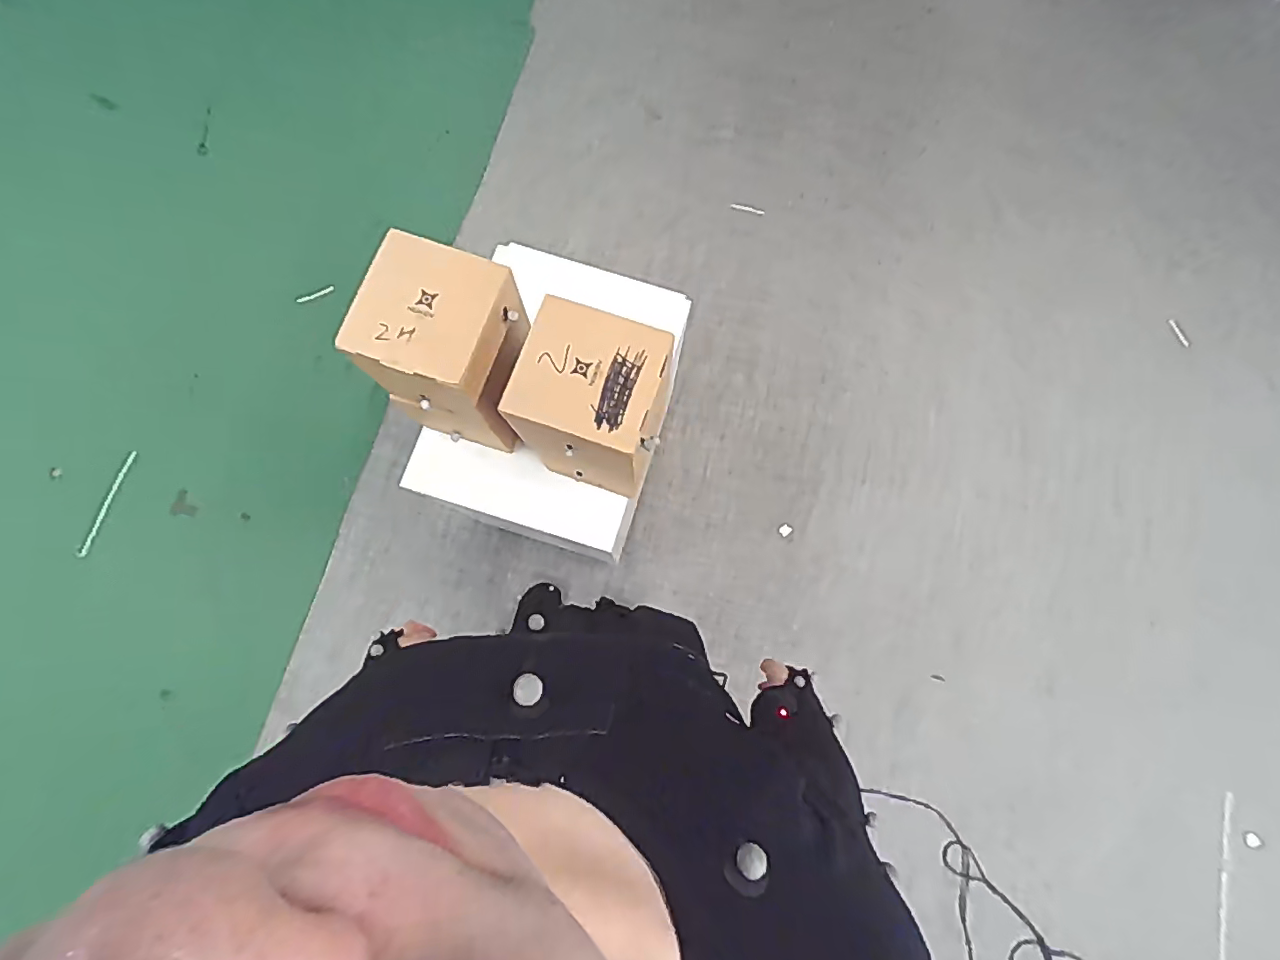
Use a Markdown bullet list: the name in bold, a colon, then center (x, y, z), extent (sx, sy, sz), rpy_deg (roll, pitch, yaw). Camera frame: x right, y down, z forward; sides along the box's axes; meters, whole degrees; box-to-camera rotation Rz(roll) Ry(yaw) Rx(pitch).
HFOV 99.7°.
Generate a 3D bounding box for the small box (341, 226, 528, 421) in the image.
- **small box**: center (-0.267, -0.205, 0.753), extent (0.168, 0.176, 0.179), rpy_deg (19, 79, 2)

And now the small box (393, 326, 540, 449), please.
- **small box**: center (-0.277, -0.171, 0.913), extent (0.168, 0.176, 0.179), rpy_deg (18, 80, 2)

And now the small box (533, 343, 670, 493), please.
- **small box**: center (-0.060, -0.094, 0.904), extent (0.168, 0.176, 0.179), rpy_deg (19, 80, 3)
